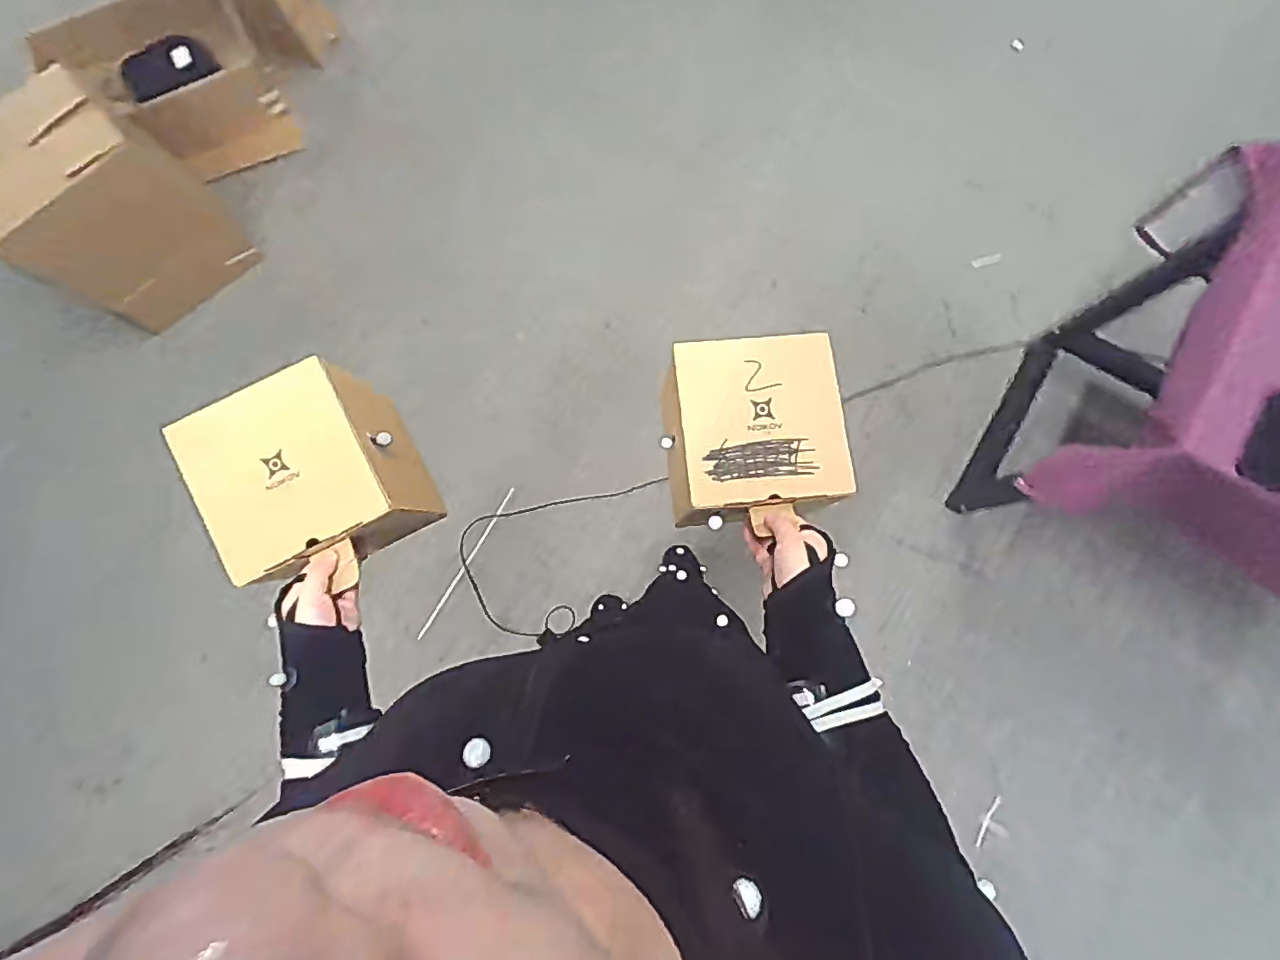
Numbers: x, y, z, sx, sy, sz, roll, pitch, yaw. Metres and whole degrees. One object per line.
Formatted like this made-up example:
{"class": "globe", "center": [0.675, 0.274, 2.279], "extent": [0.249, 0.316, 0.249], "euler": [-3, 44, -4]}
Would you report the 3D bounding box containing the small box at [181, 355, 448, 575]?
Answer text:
{"class": "small box", "center": [-0.349, -0.010, 0.615], "extent": [0.168, 0.176, 0.179], "euler": [-26, 87, -3]}
